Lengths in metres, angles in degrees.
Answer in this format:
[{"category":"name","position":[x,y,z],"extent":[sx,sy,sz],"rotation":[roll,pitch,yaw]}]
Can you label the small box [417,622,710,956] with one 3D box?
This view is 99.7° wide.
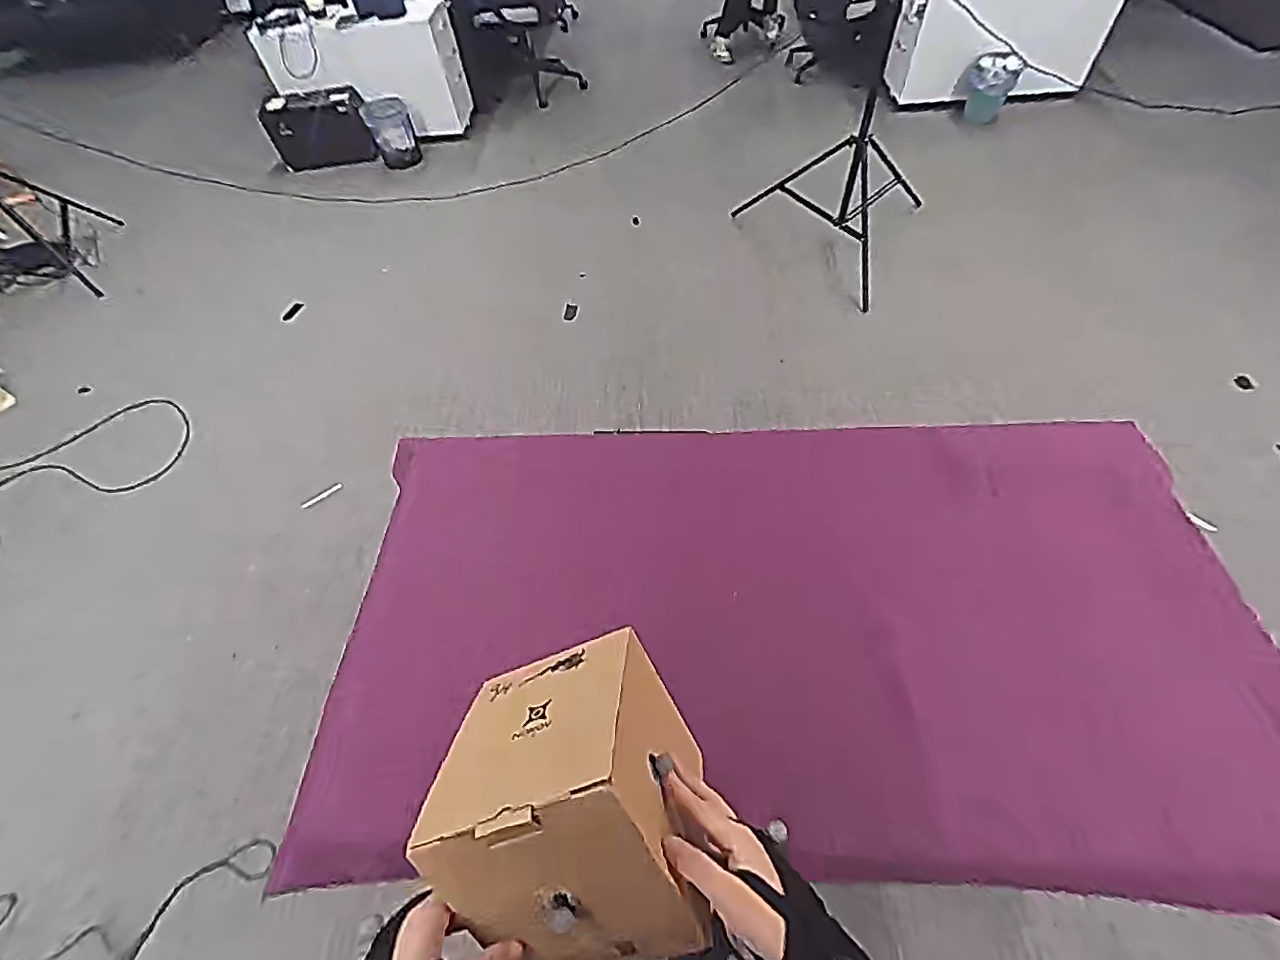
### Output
[{"category":"small box","position":[-0.047,0.263,0.468],"extent":[0.168,0.176,0.179],"rotation":[-24,16,11]}]
